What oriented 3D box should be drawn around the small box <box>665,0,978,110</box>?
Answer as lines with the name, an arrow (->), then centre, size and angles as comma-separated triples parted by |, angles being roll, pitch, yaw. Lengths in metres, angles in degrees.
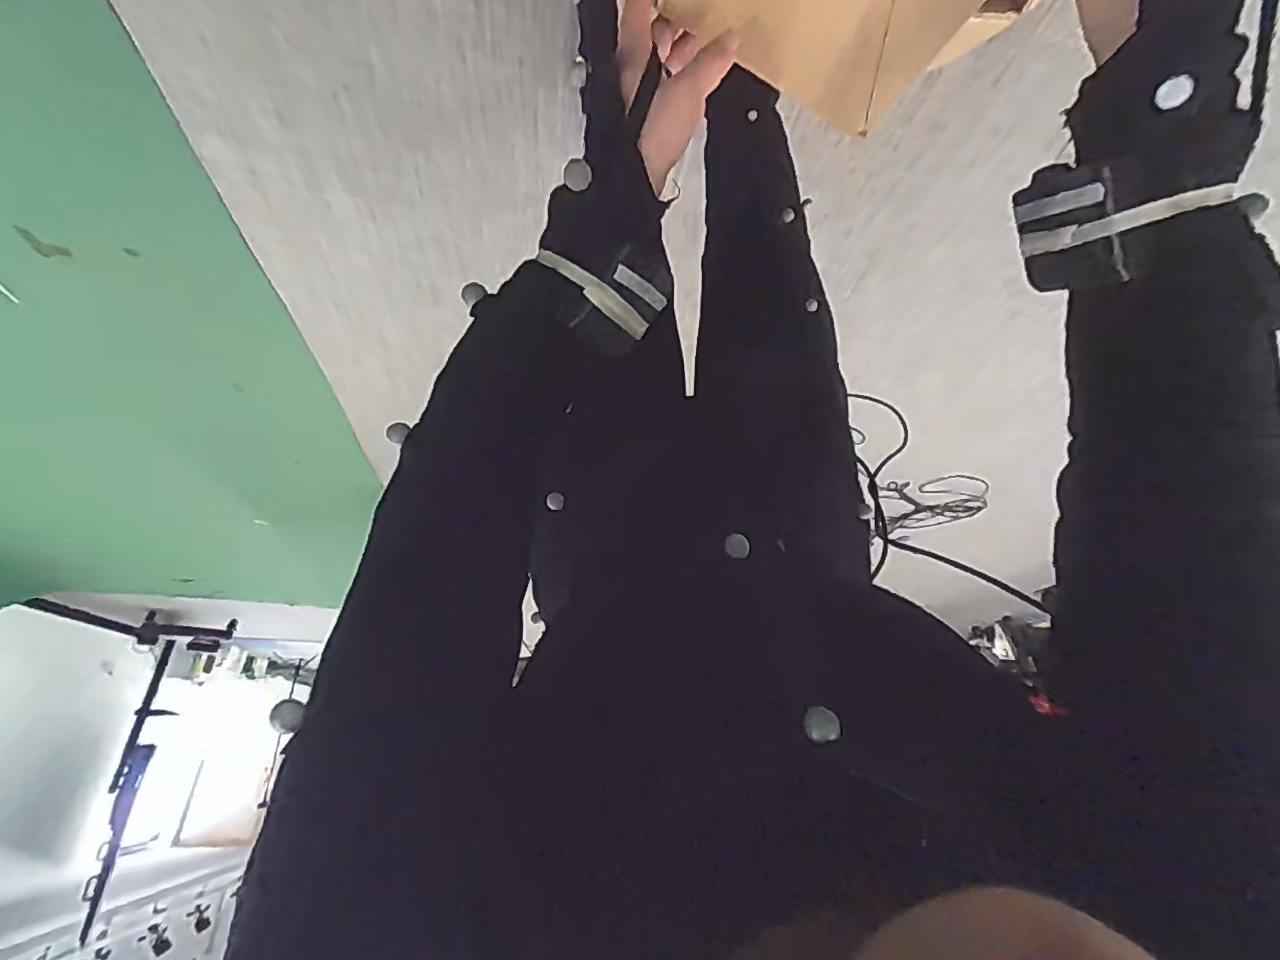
small box -> 0.127, -0.356, 0.305 | 0.168, 0.176, 0.179 | 21, 156, -15
